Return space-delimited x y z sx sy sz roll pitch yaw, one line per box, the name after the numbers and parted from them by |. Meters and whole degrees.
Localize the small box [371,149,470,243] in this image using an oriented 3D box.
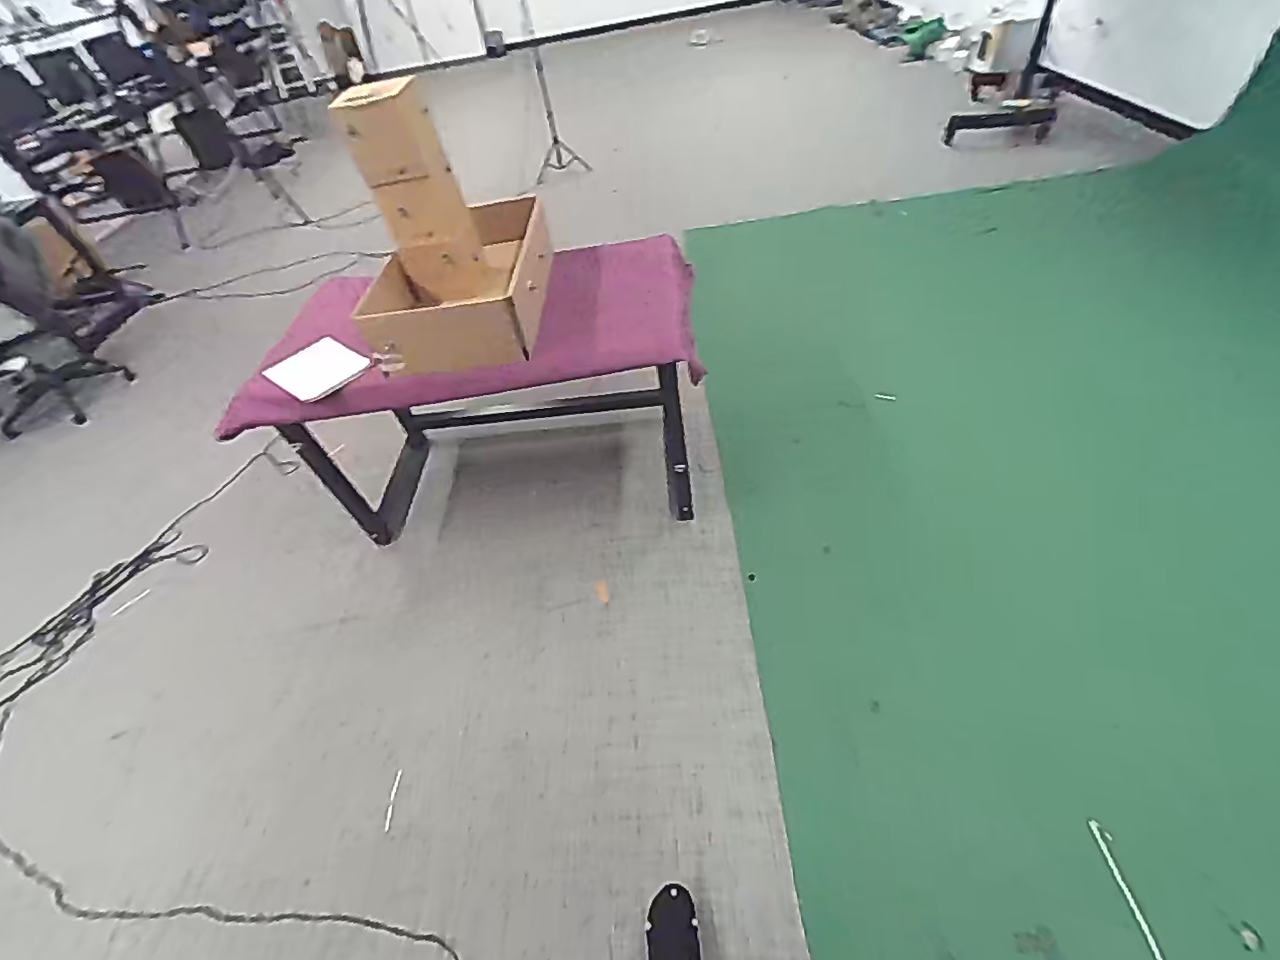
-0.577 -0.751 1.447 0.168 0.176 0.179 -4 49 8 | small box
